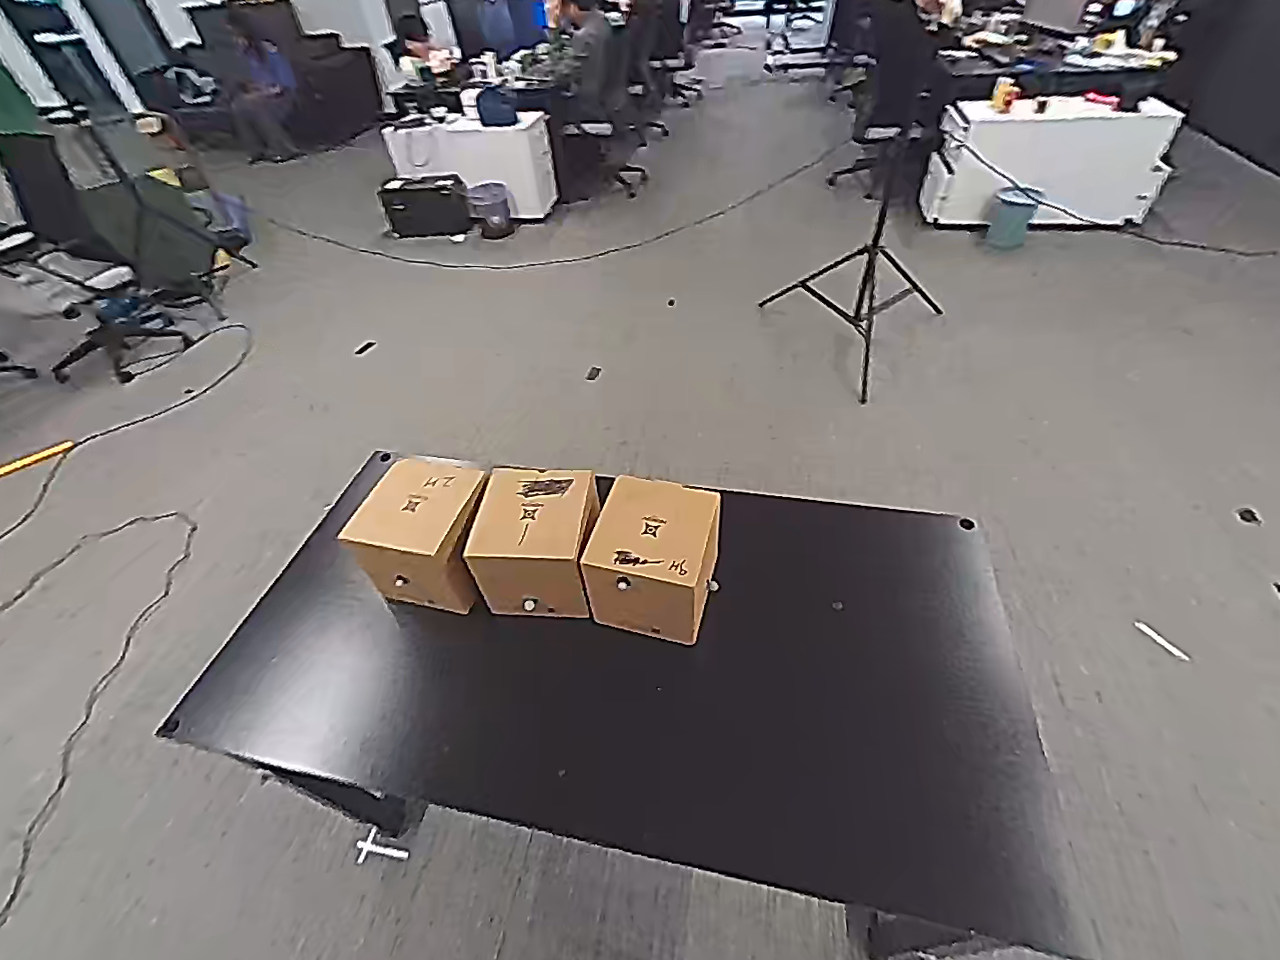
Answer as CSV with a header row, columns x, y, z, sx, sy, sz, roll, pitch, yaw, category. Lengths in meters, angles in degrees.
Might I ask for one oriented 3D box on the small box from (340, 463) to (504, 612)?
x,y,z,sx,sy,sz,roll,pitch,yaw,category
-0.347,0.098,0.904,0.168,0.176,0.179,8,47,12,small box
